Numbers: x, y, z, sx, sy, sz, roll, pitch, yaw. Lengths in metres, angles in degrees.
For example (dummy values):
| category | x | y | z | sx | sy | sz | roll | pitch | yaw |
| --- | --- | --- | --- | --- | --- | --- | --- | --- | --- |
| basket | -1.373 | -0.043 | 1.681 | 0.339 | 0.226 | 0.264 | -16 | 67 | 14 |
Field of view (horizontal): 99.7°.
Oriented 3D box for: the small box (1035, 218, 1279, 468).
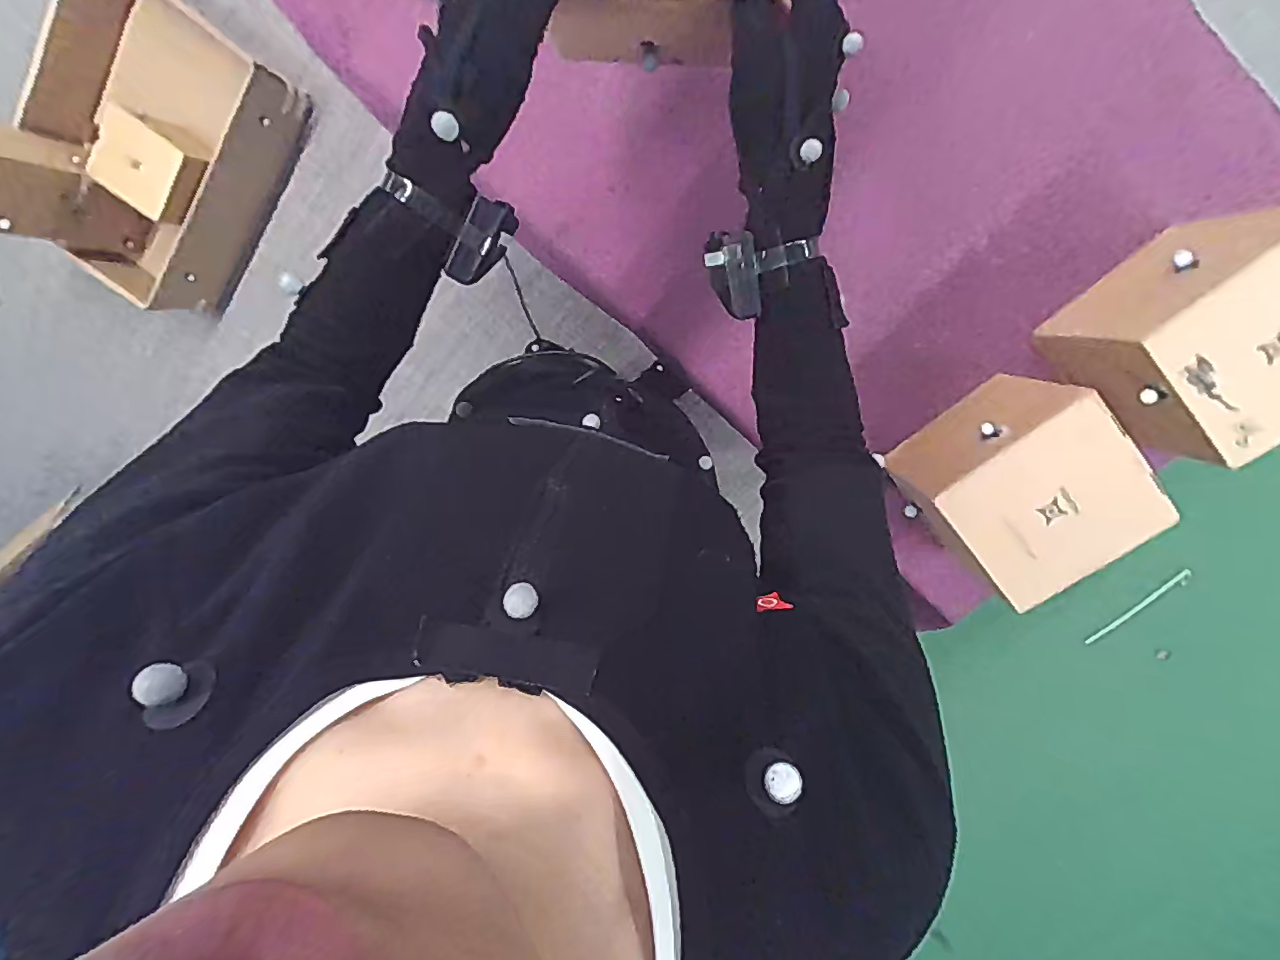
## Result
| category | x | y | z | sx | sy | sz | roll | pitch | yaw |
| --- | --- | --- | --- | --- | --- | --- | --- | --- | --- |
| small box | 0.572 | -0.146 | 0.558 | 0.179 | 0.176 | 0.168 | -40 | 101 | 14 |

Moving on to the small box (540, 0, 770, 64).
| category | x | y | z | sx | sy | sz | roll | pitch | yaw |
| --- | --- | --- | --- | --- | --- | --- | --- | --- | --- |
| small box | 0.008 | -0.416 | 0.365 | 0.168 | 0.176 | 0.179 | 3 | 115 | -1 |
